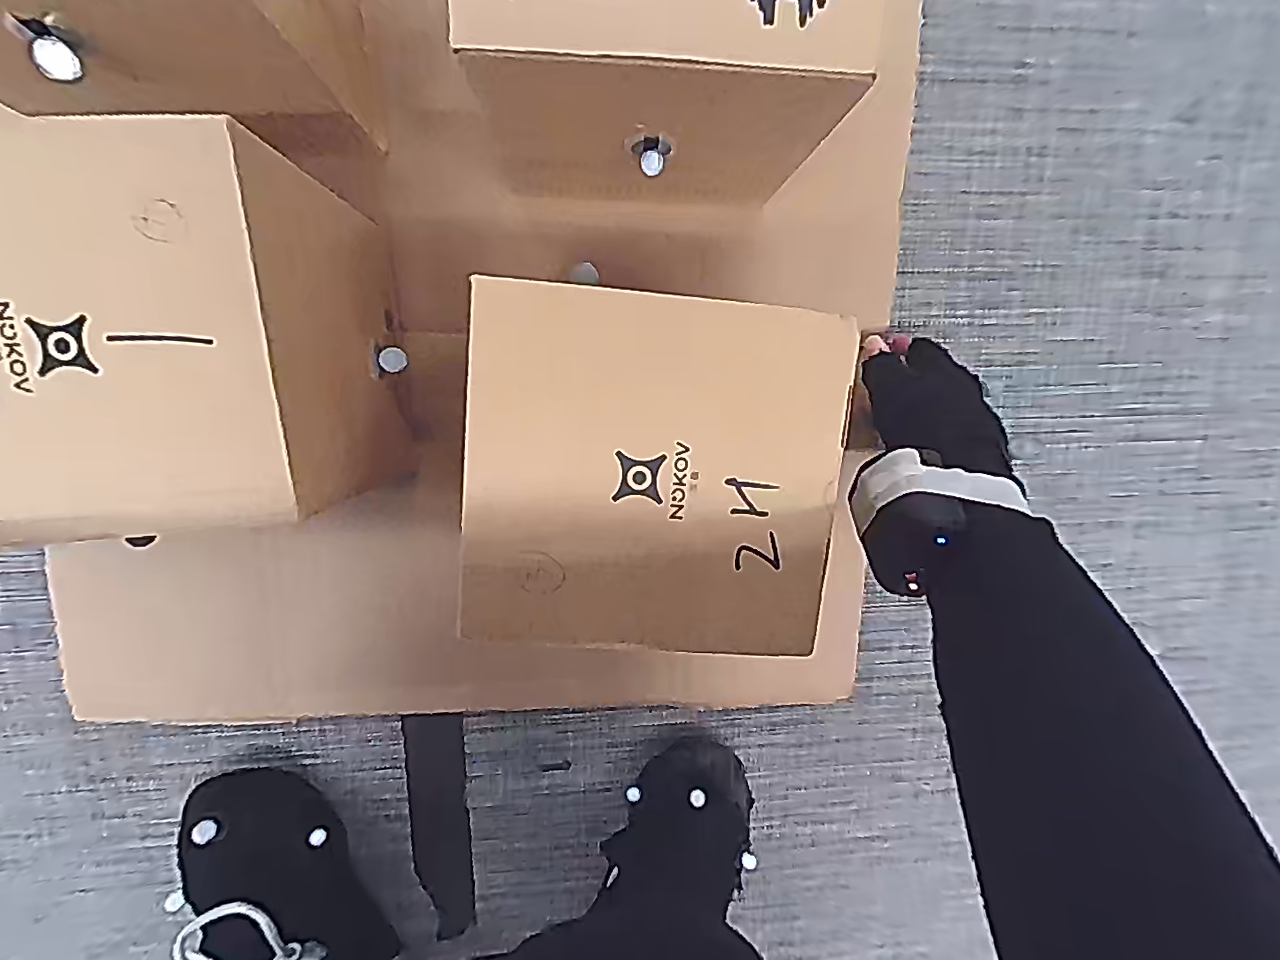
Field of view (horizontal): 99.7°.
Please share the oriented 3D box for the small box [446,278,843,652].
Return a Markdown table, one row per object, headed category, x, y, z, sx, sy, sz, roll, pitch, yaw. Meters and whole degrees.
| category | x | y | z | sx | sy | sz | roll | pitch | yaw |
| --- | --- | --- | --- | --- | --- | --- | --- | --- | --- |
| small box | -0.005 | -0.013 | 0.334 | 0.179 | 0.176 | 0.168 | 5 | 99 | -6 |
